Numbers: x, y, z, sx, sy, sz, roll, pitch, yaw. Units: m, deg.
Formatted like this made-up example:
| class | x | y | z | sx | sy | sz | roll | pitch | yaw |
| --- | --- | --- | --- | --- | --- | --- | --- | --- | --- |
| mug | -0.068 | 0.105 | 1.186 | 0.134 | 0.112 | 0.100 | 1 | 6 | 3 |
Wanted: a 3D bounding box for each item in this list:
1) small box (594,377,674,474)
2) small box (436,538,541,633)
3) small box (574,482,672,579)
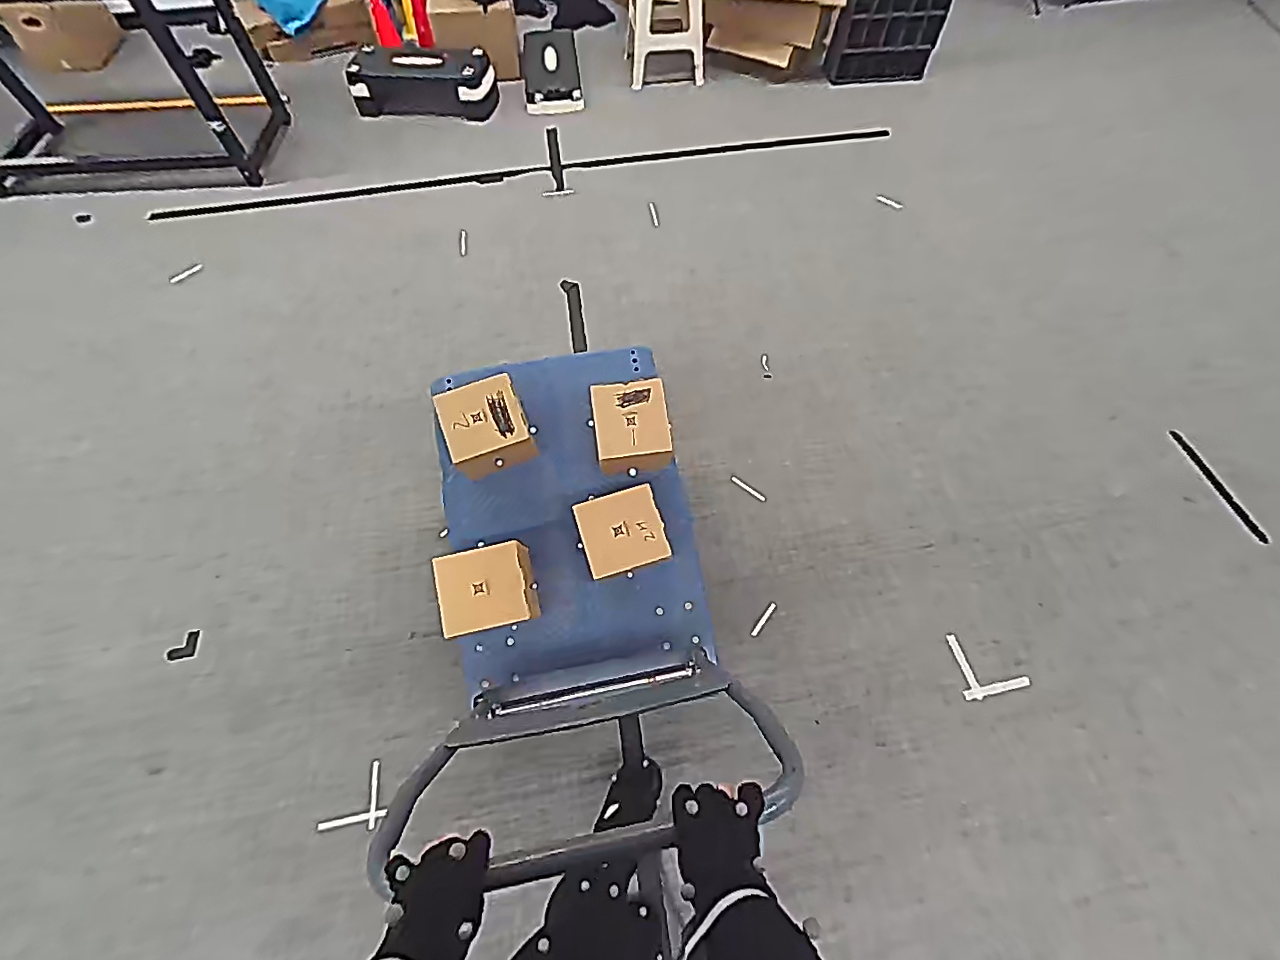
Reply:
| class | x | y | z | sx | sy | sz | roll | pitch | yaw |
| --- | --- | --- | --- | --- | --- | --- | --- | --- | --- |
| small box | -0.019 | -0.124 | 1.282 | 0.168 | 0.176 | 0.179 | -7 | 78 | -4 |
| small box | -0.327 | 0.235 | 1.187 | 0.179 | 0.176 | 0.168 | -12 | 78 | -7 |
| small box | -0.038 | 0.121 | 1.224 | 0.179 | 0.176 | 0.168 | -16 | 78 | -6 |
